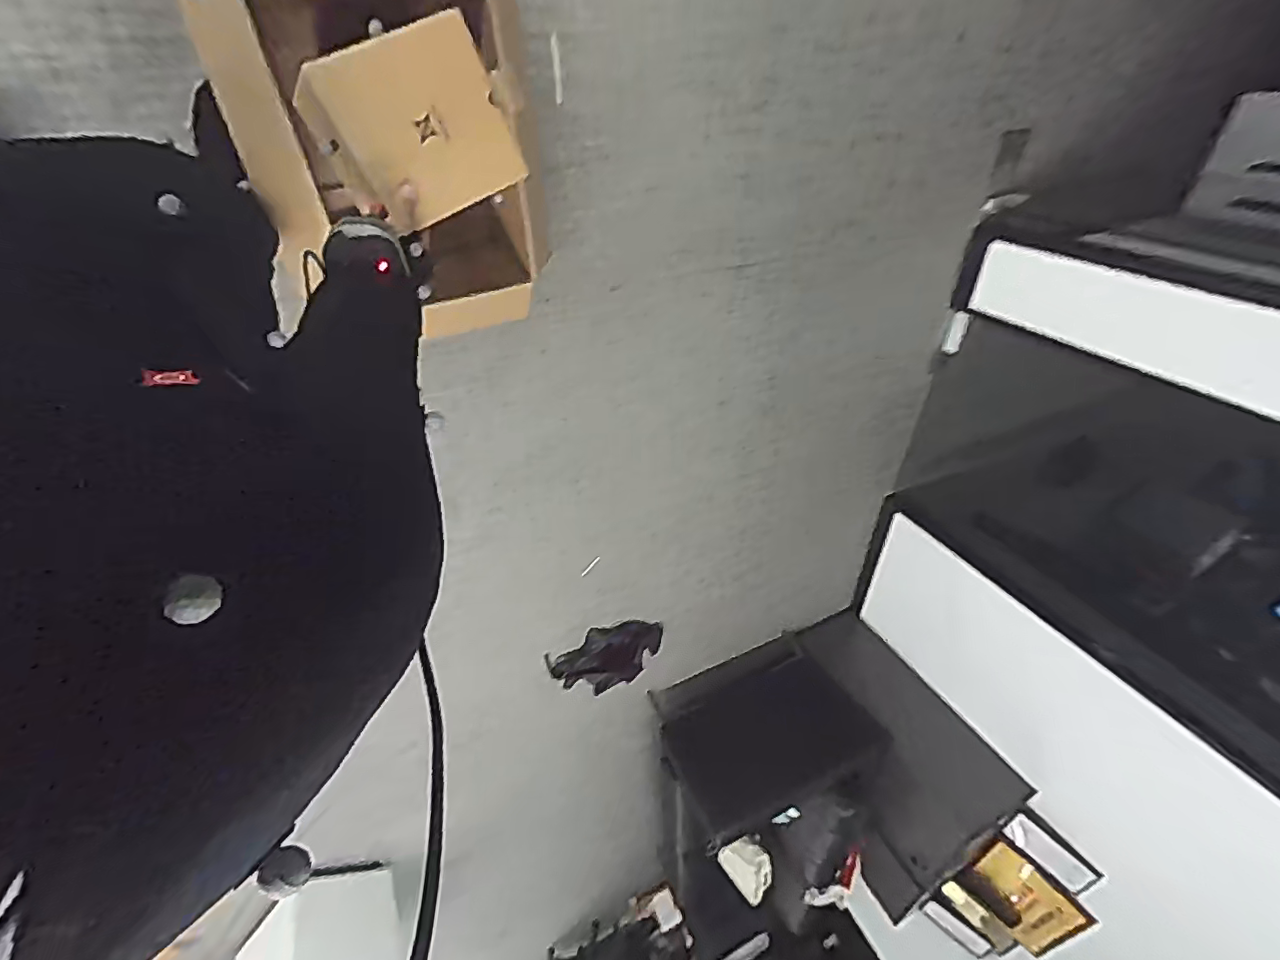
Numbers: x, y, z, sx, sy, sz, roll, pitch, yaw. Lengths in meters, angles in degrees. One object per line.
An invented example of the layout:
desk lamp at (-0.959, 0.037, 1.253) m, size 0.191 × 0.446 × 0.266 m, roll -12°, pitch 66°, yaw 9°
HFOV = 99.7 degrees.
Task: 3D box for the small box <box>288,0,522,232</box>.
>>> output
small box at (-0.275, -0.406, 0.632) m, size 0.179 × 0.176 × 0.168 m, roll -38°, pitch 127°, yaw -18°
